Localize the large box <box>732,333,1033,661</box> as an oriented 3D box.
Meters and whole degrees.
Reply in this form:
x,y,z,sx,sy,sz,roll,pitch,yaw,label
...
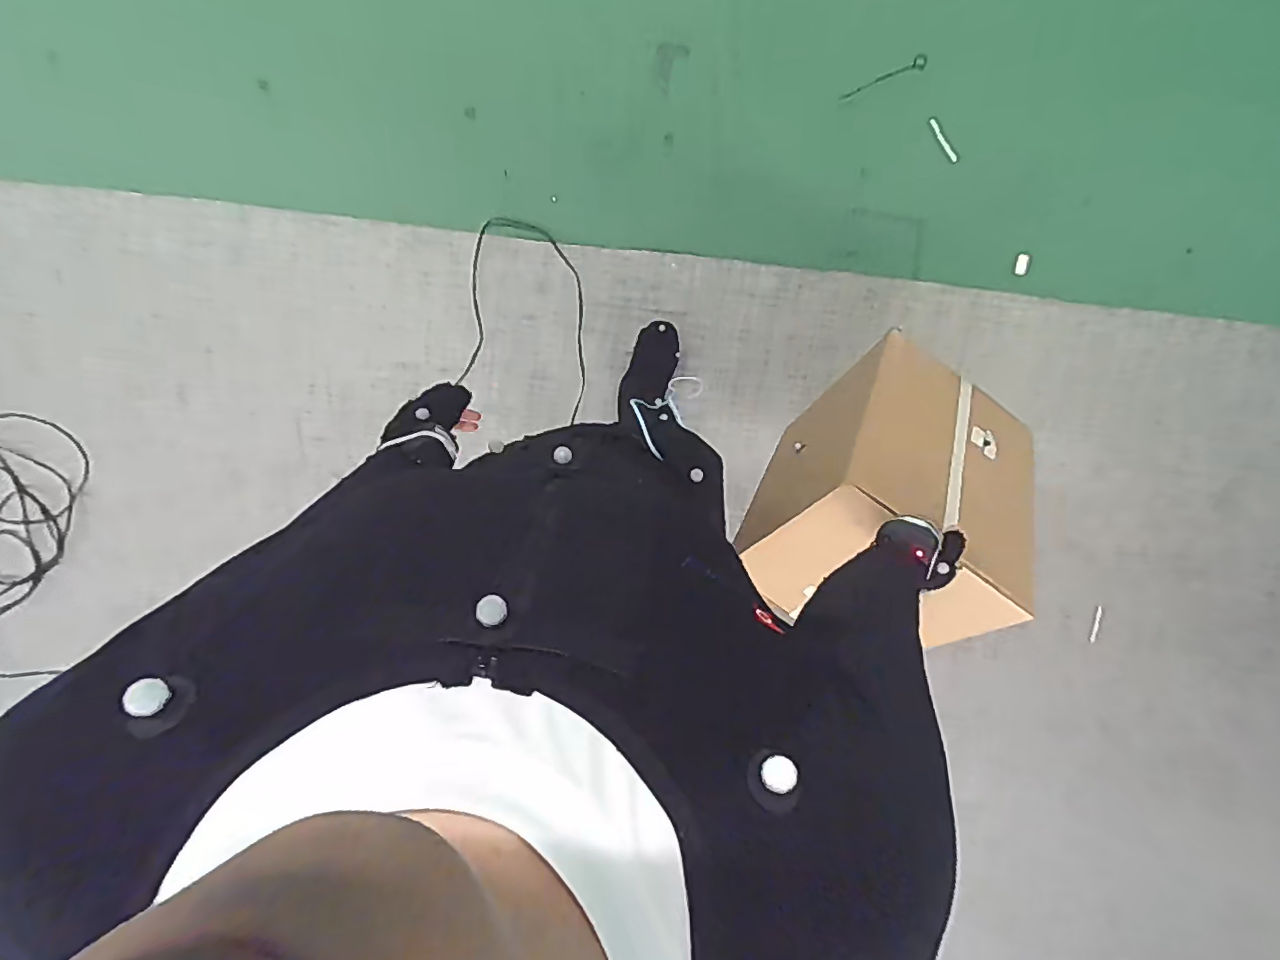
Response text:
x,y,z,sx,sy,sz,roll,pitch,yaw,label
0.413,0.033,0.938,0.320,0.320,0.408,36,52,-3,large box
